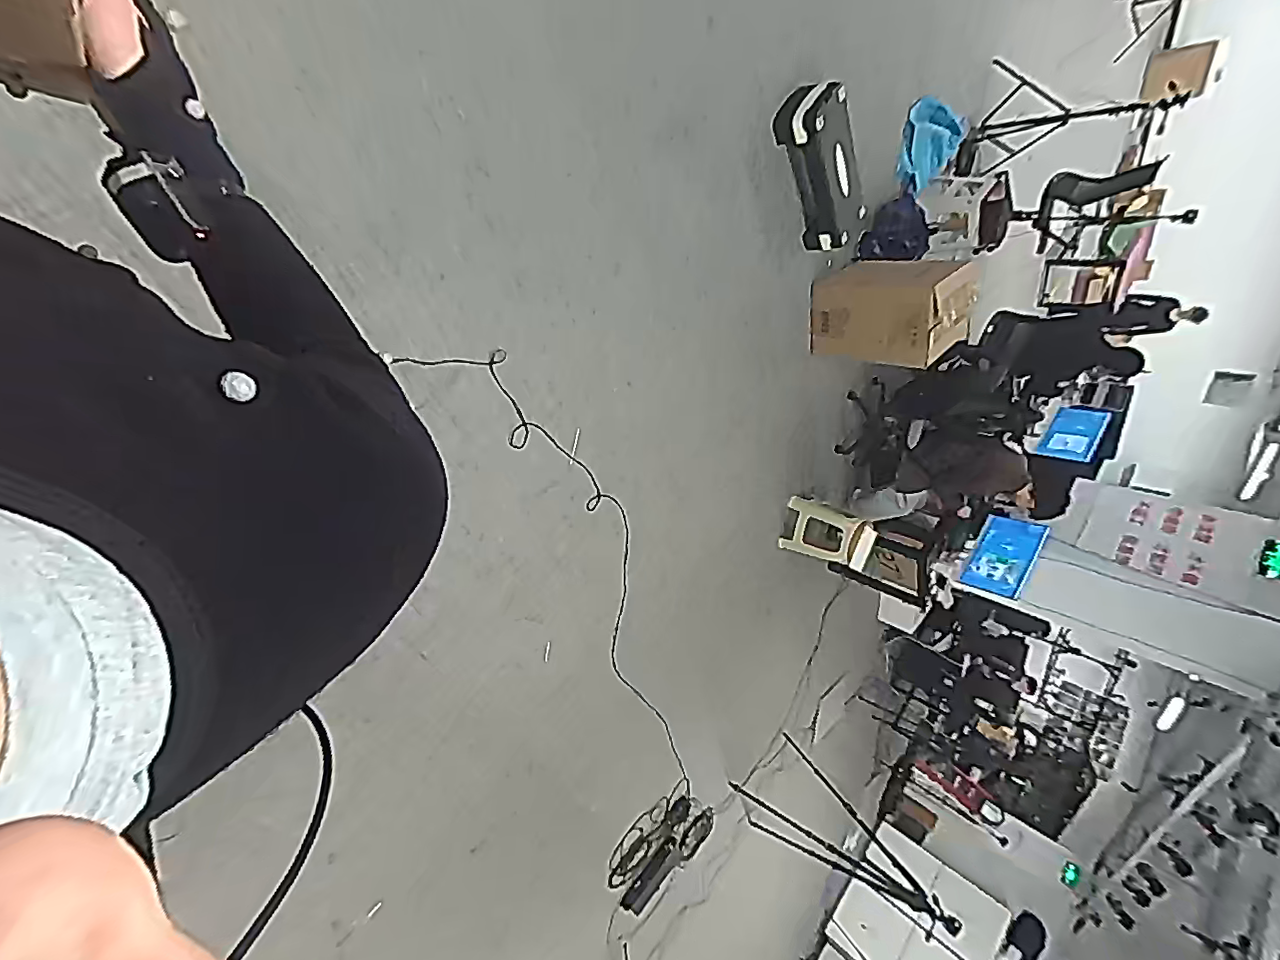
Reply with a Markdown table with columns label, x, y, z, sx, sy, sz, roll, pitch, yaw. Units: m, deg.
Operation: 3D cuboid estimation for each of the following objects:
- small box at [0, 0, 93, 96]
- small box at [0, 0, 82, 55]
| label | x | y | z | sx | sy | sz | roll | pitch | yaw |
| --- | --- | --- | --- | --- | --- | --- | --- | --- | --- |
| small box | -0.494 | -0.381 | 0.355 | 0.179 | 0.176 | 0.168 | -8 | 114 | -40 |
| small box | -0.388 | -0.328 | 0.241 | 0.179 | 0.176 | 0.168 | -9 | 116 | -42 |
